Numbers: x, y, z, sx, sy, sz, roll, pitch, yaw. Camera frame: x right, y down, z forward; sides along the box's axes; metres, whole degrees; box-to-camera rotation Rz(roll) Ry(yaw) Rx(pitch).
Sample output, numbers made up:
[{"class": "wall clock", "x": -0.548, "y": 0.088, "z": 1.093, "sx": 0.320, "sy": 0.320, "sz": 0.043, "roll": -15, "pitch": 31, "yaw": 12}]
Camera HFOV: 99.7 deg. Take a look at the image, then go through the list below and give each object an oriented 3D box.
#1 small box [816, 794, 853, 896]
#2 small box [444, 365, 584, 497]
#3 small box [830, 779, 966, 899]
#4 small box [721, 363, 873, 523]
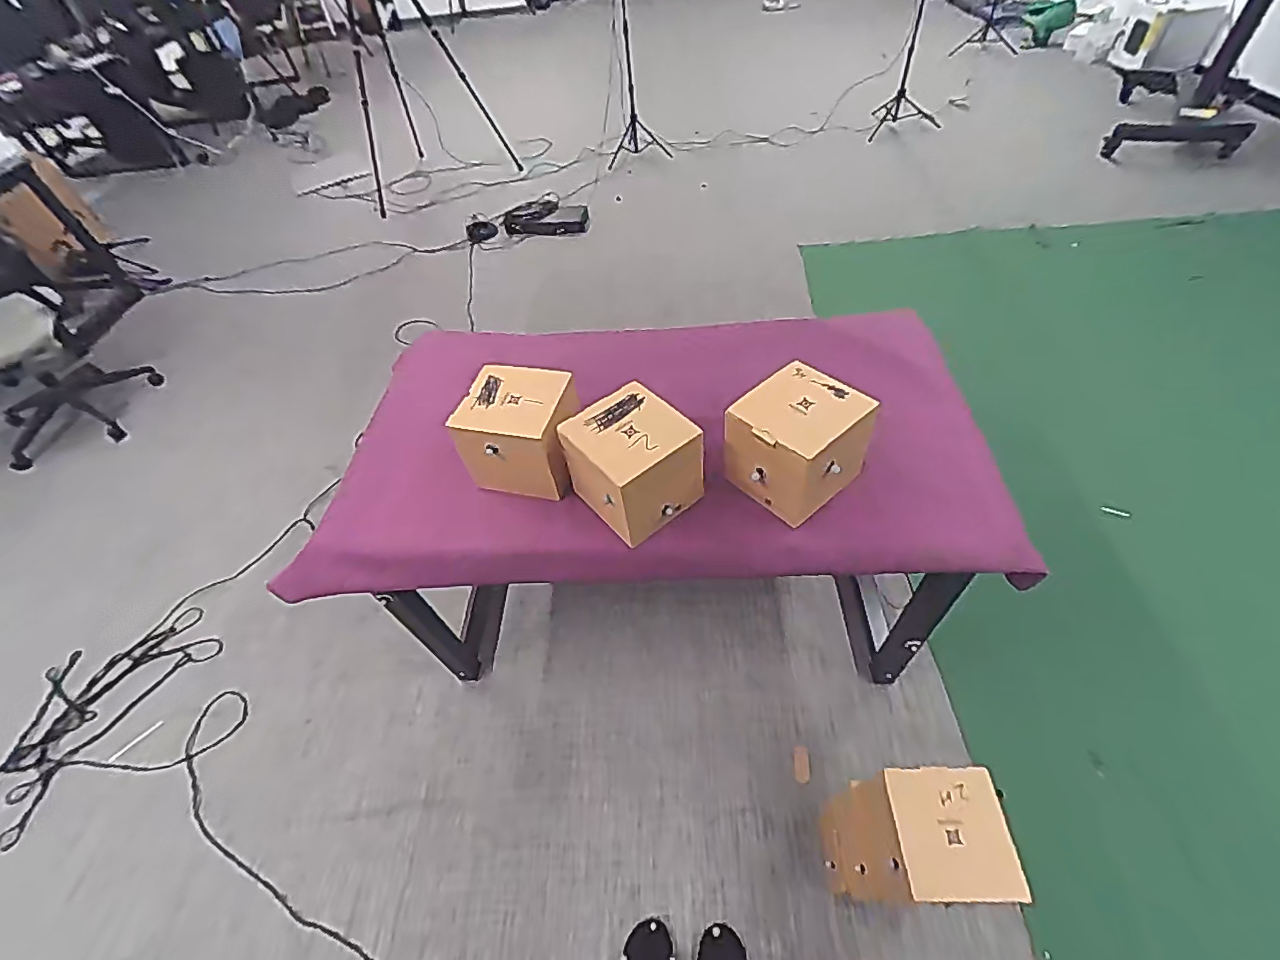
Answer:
[{"class": "small box", "x": 0.479, "y": 0.778, "z": 1.146, "sx": 0.179, "sy": 0.176, "sz": 0.168, "roll": -1, "pitch": 51, "yaw": 5}, {"class": "small box", "x": -0.218, "y": -0.087, "z": 0.989, "sx": 0.179, "sy": 0.176, "sz": 0.168, "roll": 9, "pitch": 53, "yaw": 12}, {"class": "small box", "x": 0.470, "y": 0.678, "z": 1.020, "sx": 0.168, "sy": 0.176, "sz": 0.179, "roll": -3, "pitch": 52, "yaw": 4}, {"class": "small box", "x": 0.256, "y": -0.059, "z": 0.911, "sx": 0.179, "sy": 0.176, "sz": 0.168, "roll": -36, "pitch": 55, "yaw": -21}]
